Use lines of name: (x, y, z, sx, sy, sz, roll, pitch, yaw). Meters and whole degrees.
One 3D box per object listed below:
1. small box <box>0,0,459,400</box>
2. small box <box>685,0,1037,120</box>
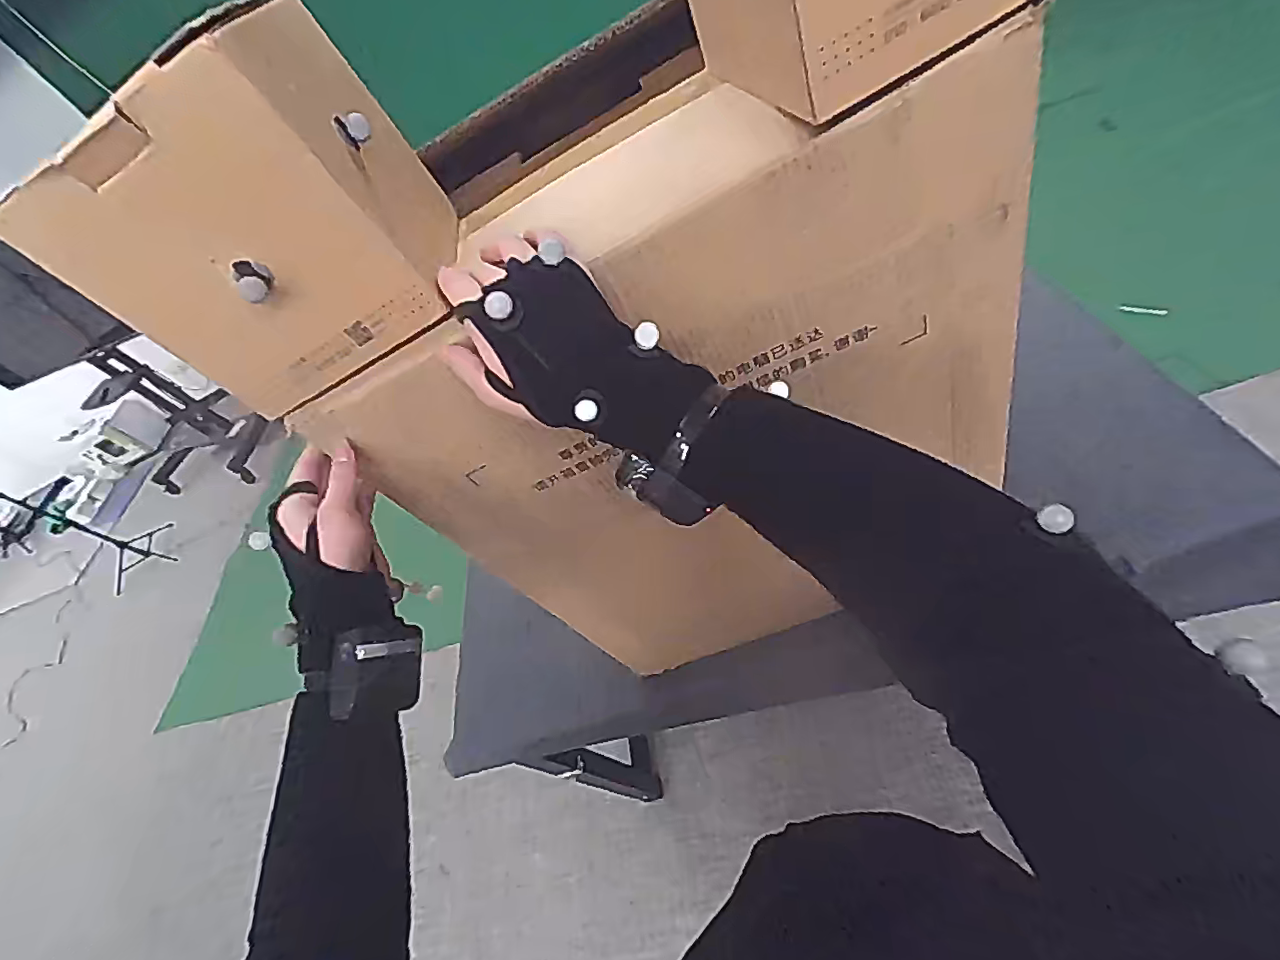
small box: (-0.246, -0.180, 0.377, 0.168, 0.176, 0.179, -26, 47, 12)
small box: (0.110, -0.325, 0.281, 0.168, 0.176, 0.179, -27, 46, 7)
